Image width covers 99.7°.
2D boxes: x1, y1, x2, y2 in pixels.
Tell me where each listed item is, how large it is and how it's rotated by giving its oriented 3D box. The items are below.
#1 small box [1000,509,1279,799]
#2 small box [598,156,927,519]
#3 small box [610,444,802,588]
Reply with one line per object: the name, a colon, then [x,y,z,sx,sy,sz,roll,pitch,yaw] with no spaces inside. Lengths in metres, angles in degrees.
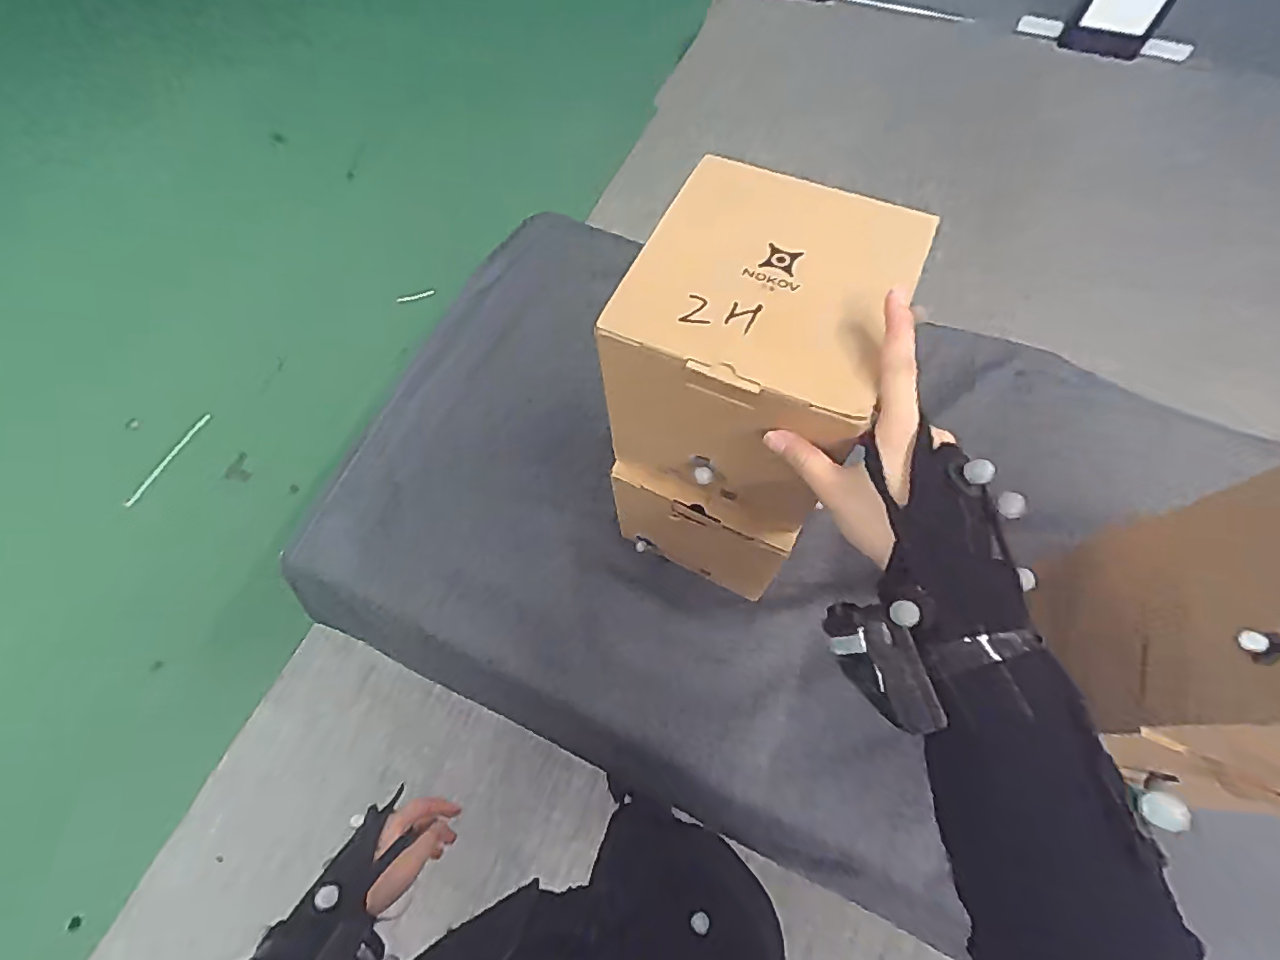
small box: [0.448,0.155,0.468,0.168,0.176,0.179,20,68,10]
small box: [0.083,-0.099,0.413,0.168,0.176,0.179,22,67,13]
small box: [0.087,-0.012,0.555,0.168,0.176,0.179,25,67,13]
